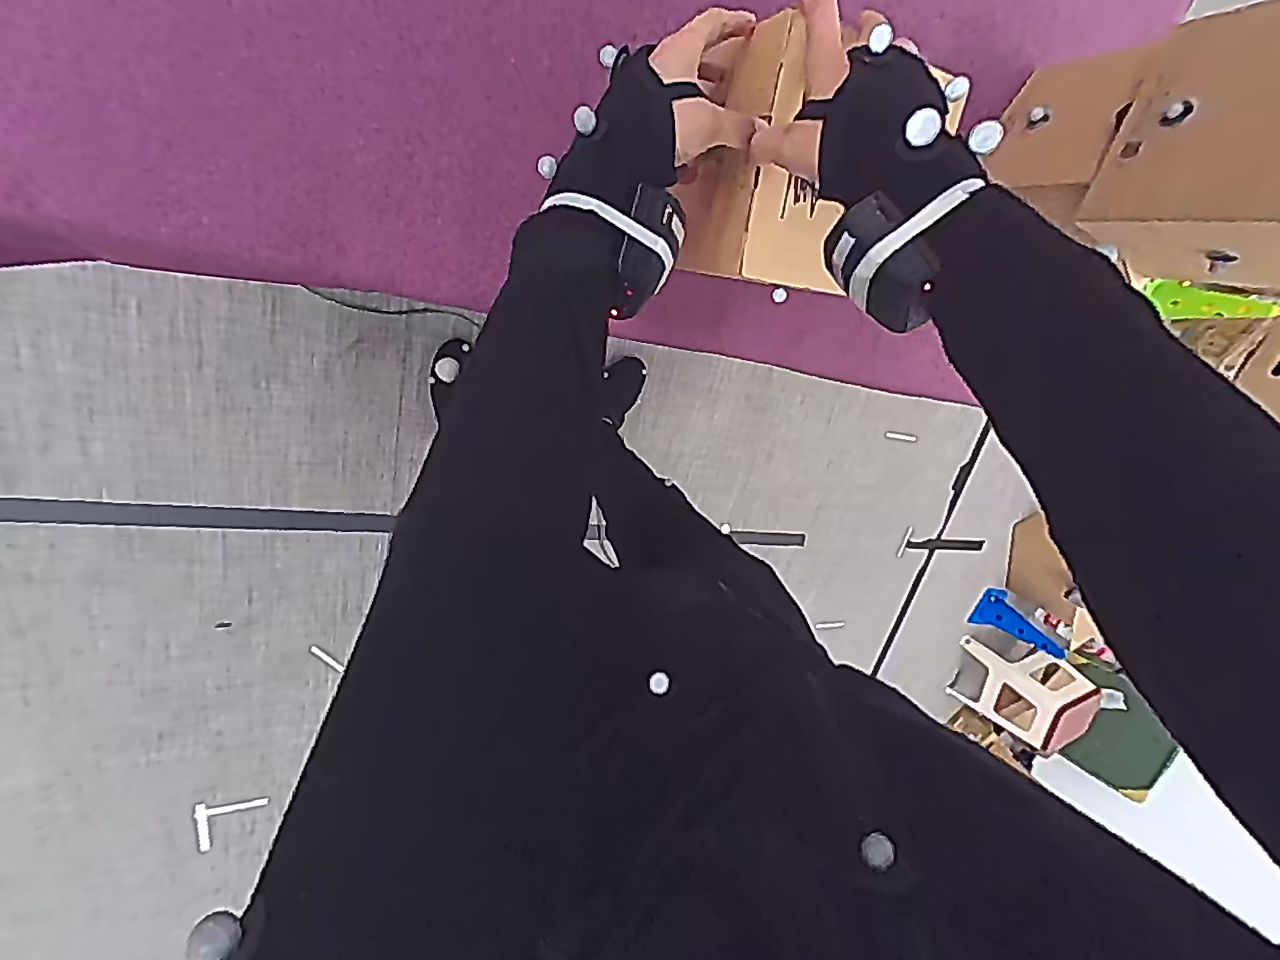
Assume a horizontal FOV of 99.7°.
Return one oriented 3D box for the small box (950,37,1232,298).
[{"bbox_3d":[0.500,-0.337,0.614,0.179,0.176,0.168,32,97,-33],"label":"small box"}]
